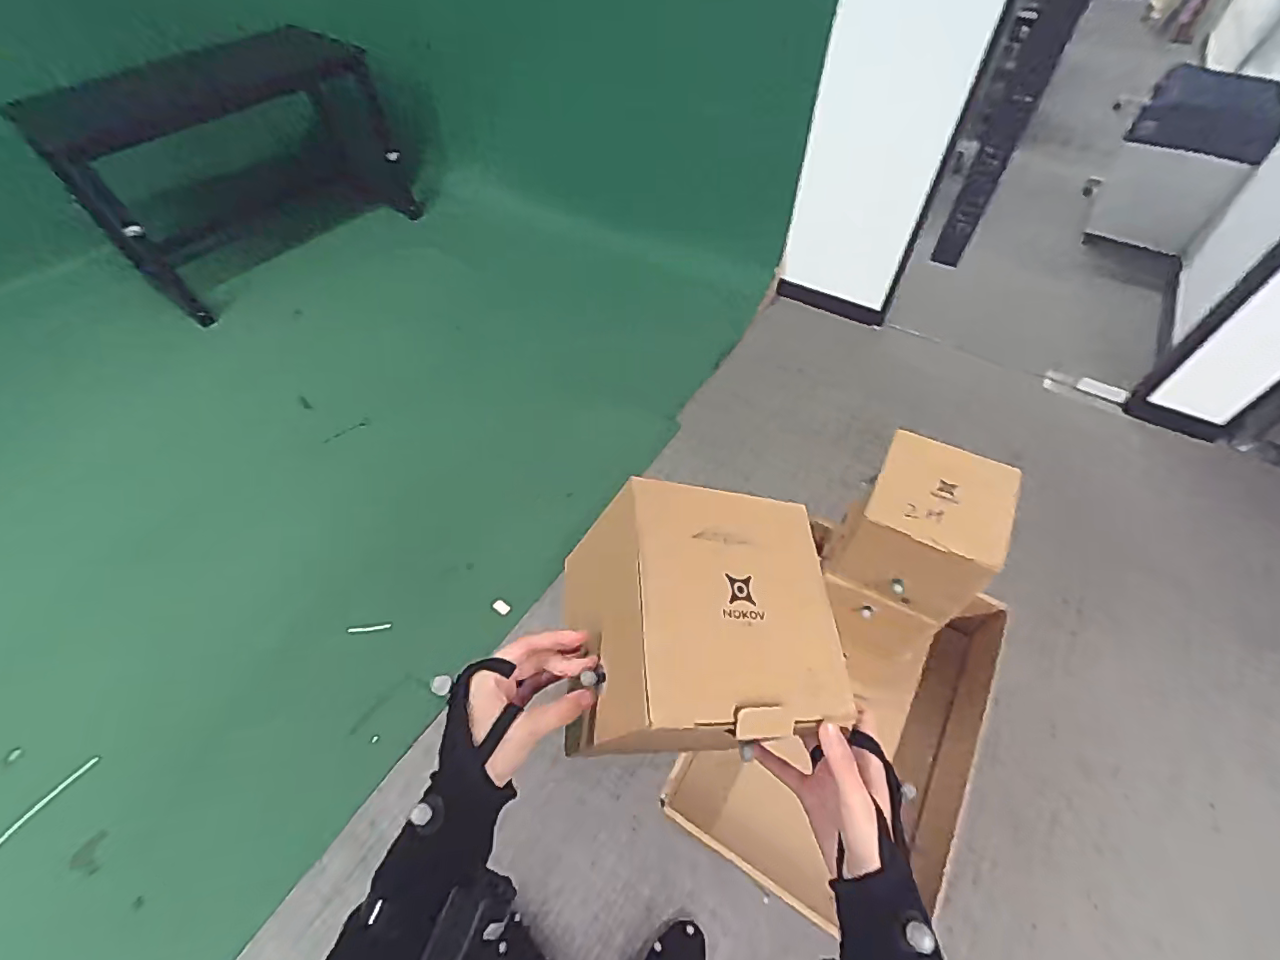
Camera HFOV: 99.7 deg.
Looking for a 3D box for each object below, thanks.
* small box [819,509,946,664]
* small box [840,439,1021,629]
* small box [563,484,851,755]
[{"bbox_3d":[0.399,0.183,0.903,0.179,0.176,0.168,22,56,18],"label":"small box"},{"bbox_3d":[0.405,0.078,0.775,0.168,0.176,0.179,23,58,20],"label":"small box"},{"bbox_3d":[0.038,0.129,0.456,0.168,0.176,0.179,10,55,-22],"label":"small box"}]
